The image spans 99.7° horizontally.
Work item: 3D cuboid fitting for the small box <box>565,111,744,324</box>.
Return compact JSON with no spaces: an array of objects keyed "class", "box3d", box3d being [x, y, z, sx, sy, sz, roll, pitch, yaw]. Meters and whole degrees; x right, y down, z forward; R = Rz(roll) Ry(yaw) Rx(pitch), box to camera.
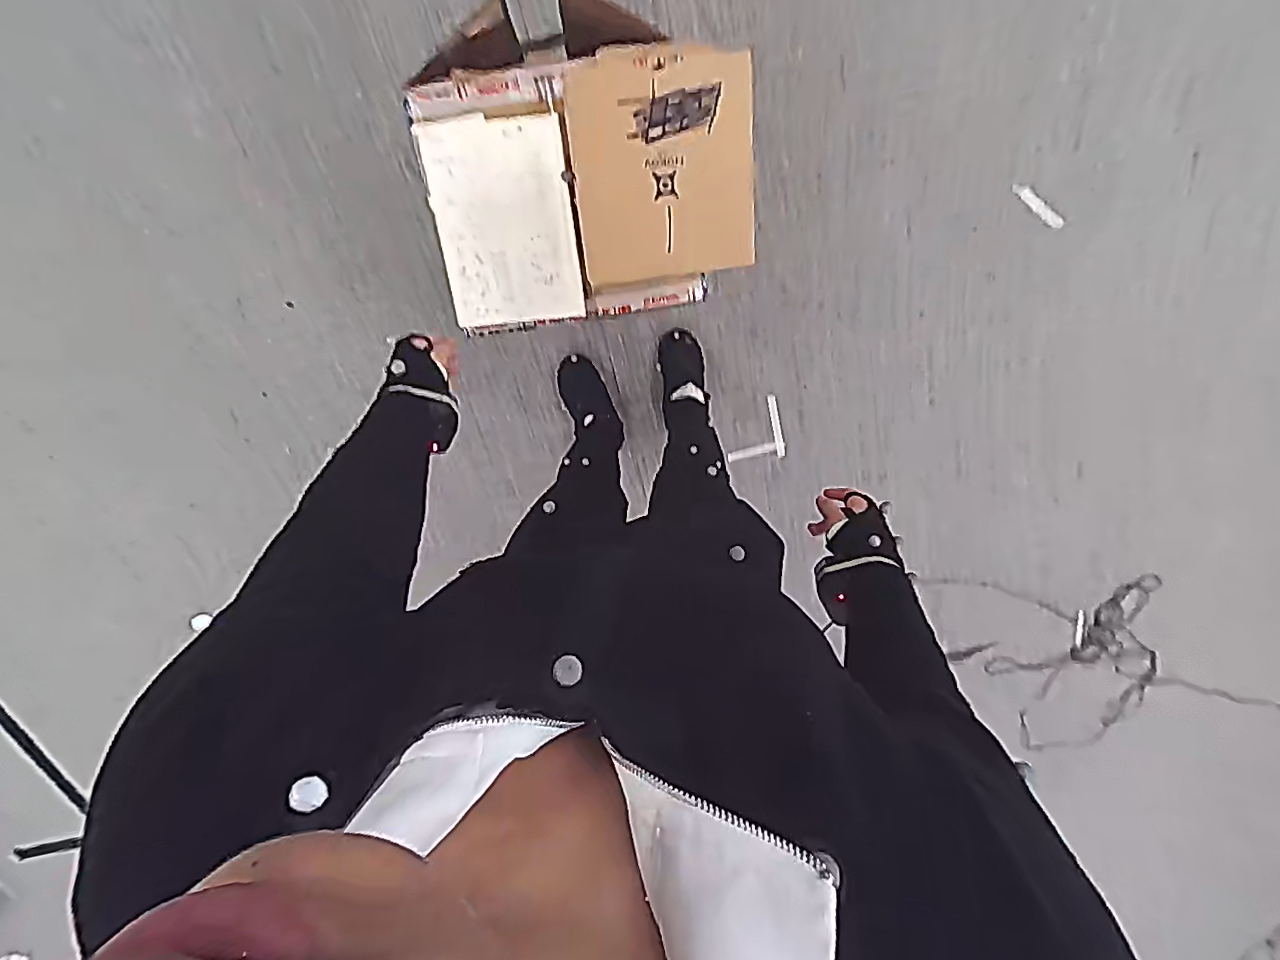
[{"class":"small box","box3d":[0.009,-0.275,0.589,0.168,0.176,0.179,-8,114,-4]}]
